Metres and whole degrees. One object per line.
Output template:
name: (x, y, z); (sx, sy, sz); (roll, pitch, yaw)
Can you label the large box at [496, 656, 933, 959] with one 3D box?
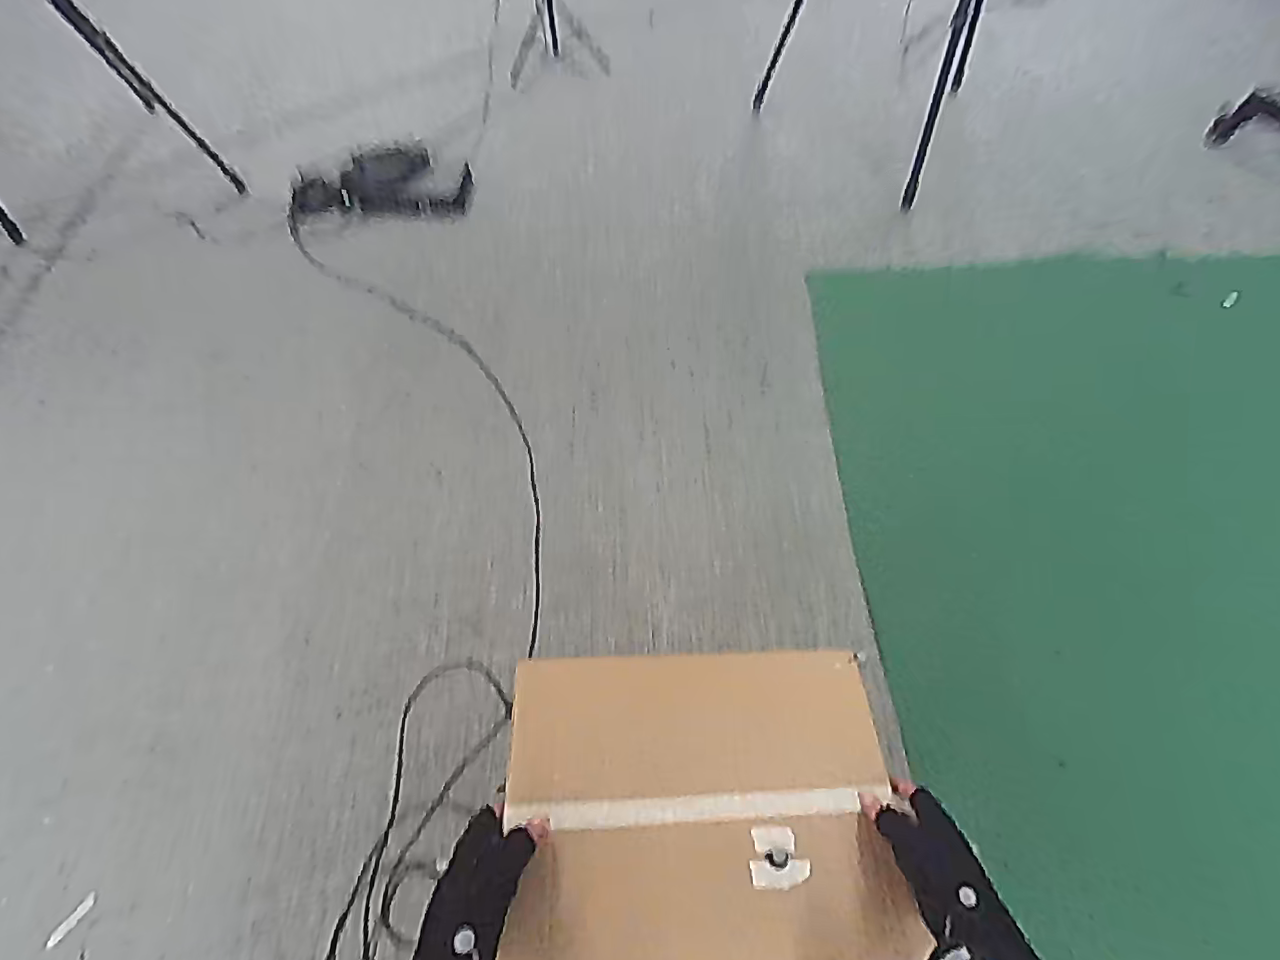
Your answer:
large box: (0.053, 0.428, 0.673); (0.408, 0.320, 0.320); (0, 54, -4)
